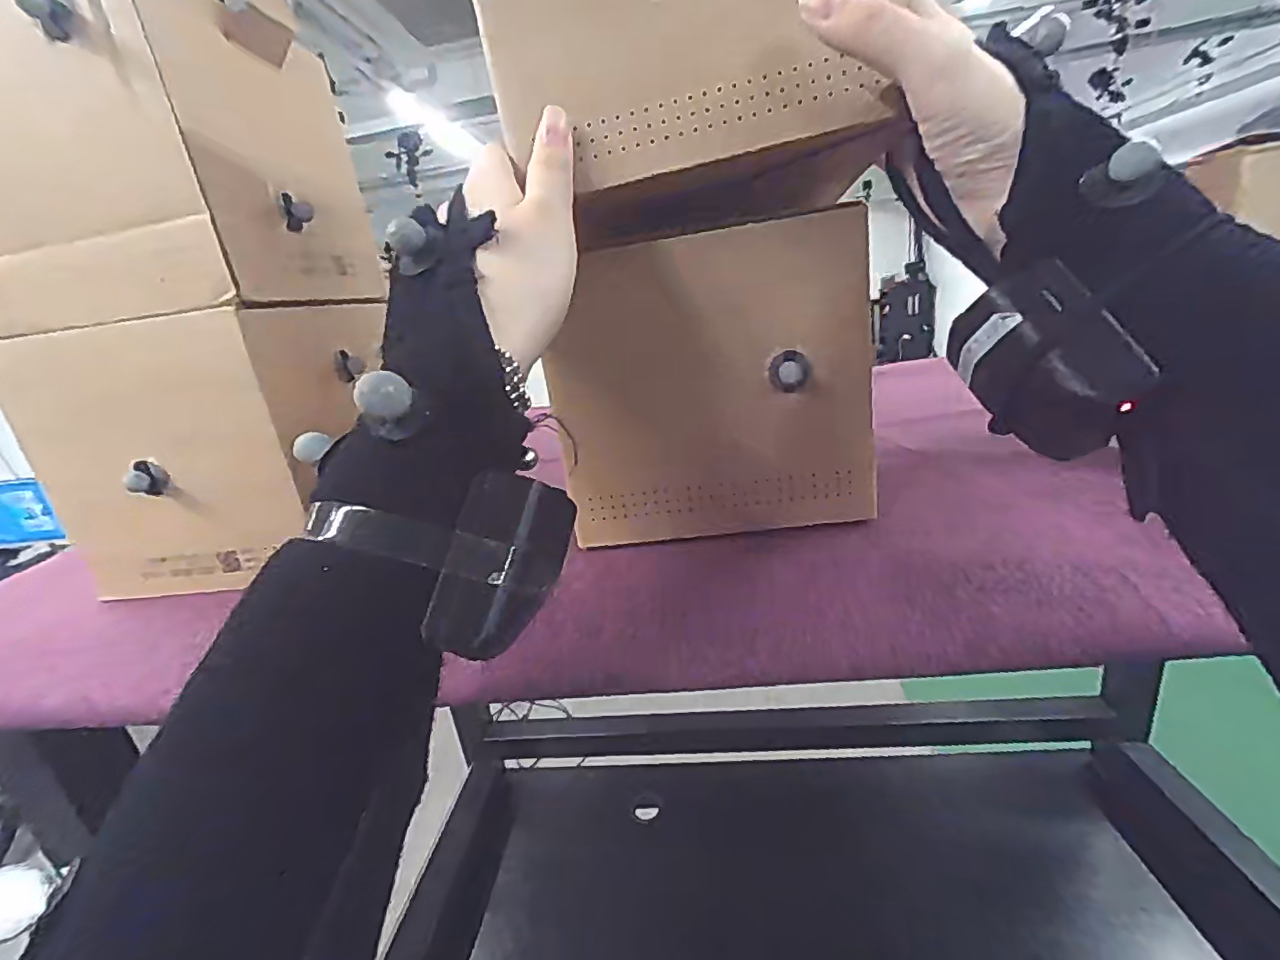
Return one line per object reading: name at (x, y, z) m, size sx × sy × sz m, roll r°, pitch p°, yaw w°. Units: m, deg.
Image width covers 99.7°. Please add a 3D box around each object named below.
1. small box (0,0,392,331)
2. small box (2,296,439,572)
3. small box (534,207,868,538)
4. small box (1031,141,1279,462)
small box at (-0.298, -0.191, 0.354) m, size 0.179 × 0.176 × 0.168 m, roll -5°, pitch 18°, yaw 4°
small box at (-0.272, -0.039, 0.405) m, size 0.168 × 0.176 × 0.179 m, roll -5°, pitch 18°, yaw 6°
small box at (0.046, -0.070, 0.376) m, size 0.179 × 0.176 × 0.168 m, roll -7°, pitch 14°, yaw 7°
small box at (0.392, -0.112, 0.352) m, size 0.179 × 0.176 × 0.168 m, roll -5°, pitch 15°, yaw 9°
